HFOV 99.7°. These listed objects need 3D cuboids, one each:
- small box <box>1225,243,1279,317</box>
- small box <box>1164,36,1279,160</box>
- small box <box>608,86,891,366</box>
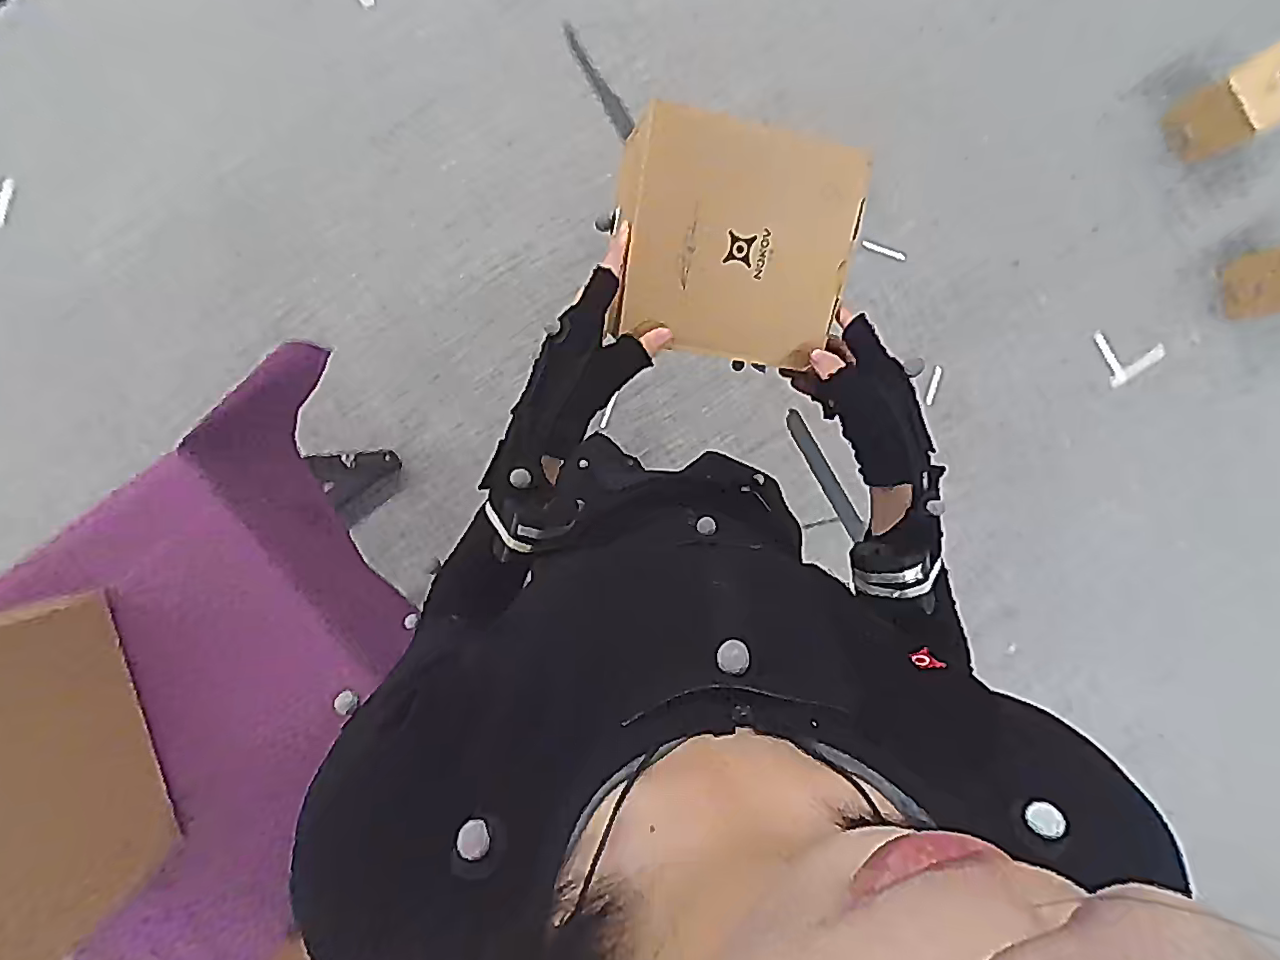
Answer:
[{"bbox_3d":[1.718,-0.548,1.429,0.179,0.176,0.168,-18,95,1],"label":"small box"},{"bbox_3d":[1.531,-0.976,1.391,0.179,0.176,0.168,-34,94,2],"label":"small box"},{"bbox_3d":[0.075,-0.203,0.475,0.179,0.176,0.168,7,106,-10],"label":"small box"}]
